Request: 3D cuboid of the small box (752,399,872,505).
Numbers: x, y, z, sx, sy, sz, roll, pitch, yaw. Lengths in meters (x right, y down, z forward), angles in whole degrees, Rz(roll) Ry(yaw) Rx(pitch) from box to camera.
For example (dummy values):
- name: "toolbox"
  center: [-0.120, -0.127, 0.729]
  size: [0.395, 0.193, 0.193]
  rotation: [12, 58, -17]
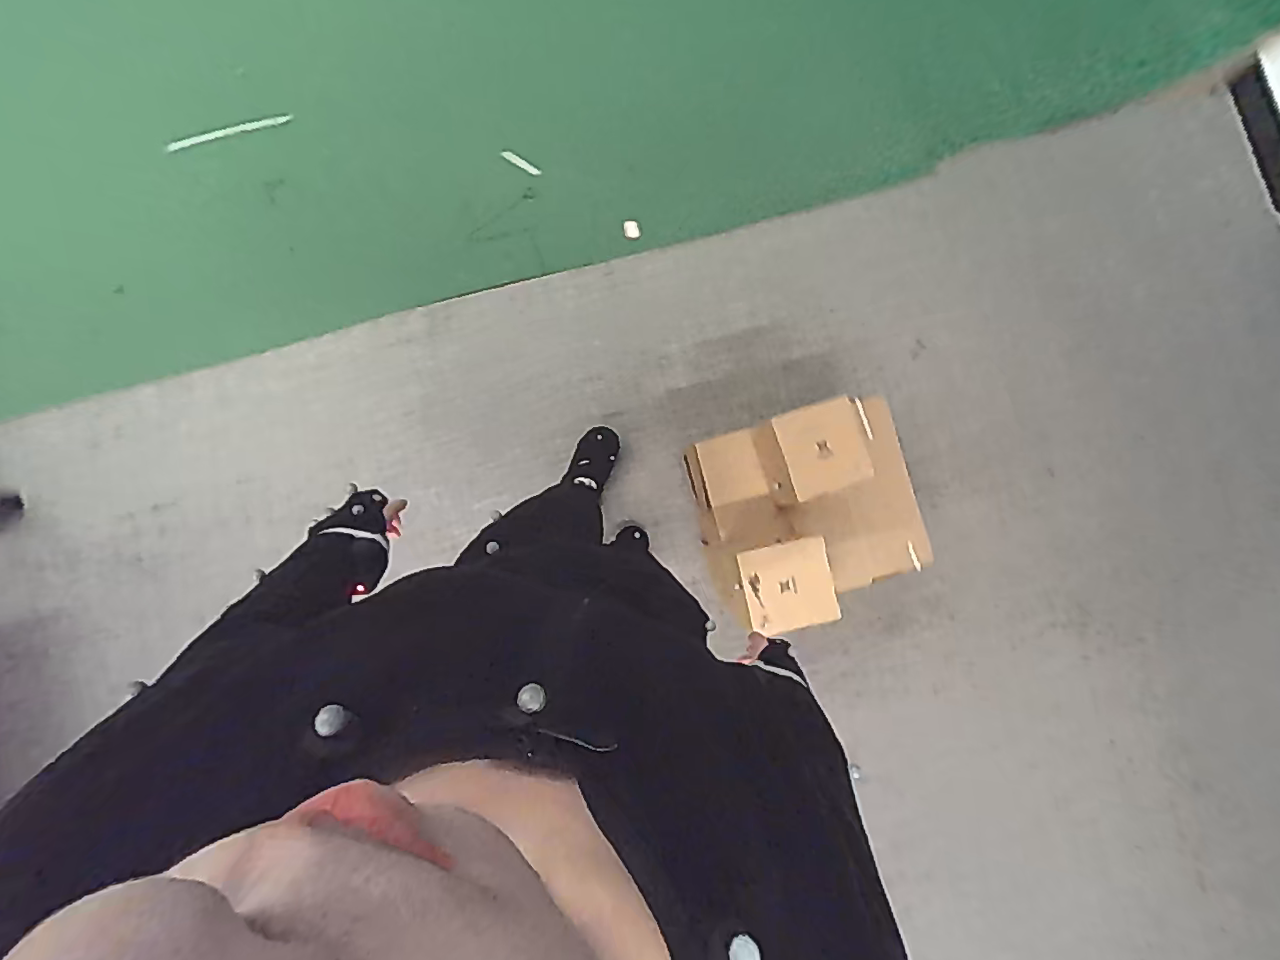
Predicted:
- name: "small box"
  center: [0.352, -0.051, 1.135]
  size: [0.168, 0.176, 0.179]
  rotation: [-16, 86, -4]

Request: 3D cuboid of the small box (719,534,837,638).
- name: "small box"
  center: [0.275, 0.209, 1.112]
  size: [0.179, 0.176, 0.168]
  rotation: [-11, 87, -3]
